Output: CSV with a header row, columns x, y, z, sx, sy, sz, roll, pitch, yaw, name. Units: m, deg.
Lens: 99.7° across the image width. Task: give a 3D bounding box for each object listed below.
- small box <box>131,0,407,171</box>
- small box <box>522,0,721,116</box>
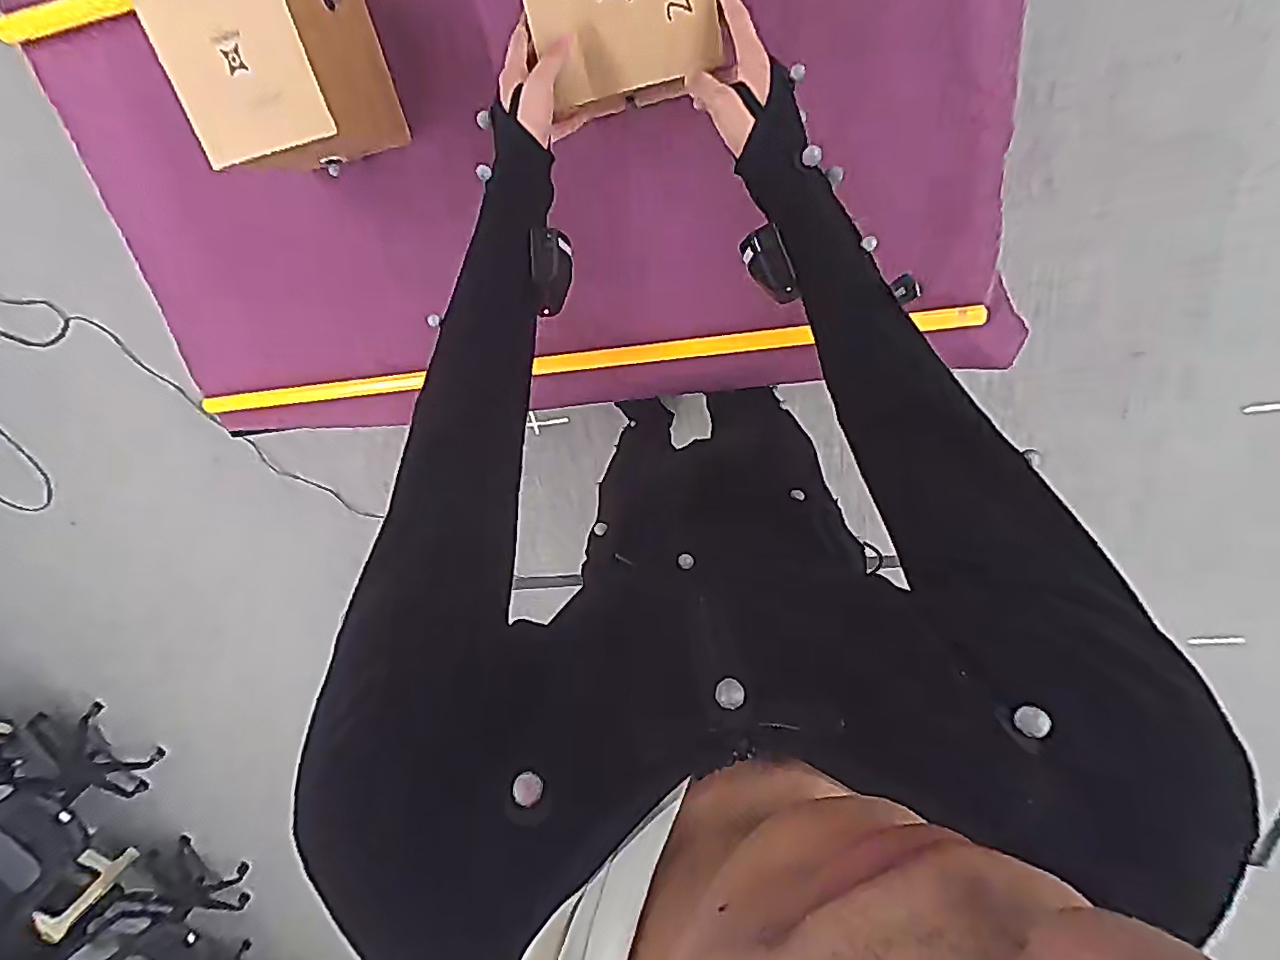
x,y,z,sx,sy,sz,roll,pitch,yaw,name
-0.405,-0.470,0.617,0.168,0.176,0.179,-7,117,12,small box
-0.014,-0.484,0.543,0.179,0.176,0.168,-7,120,10,small box
